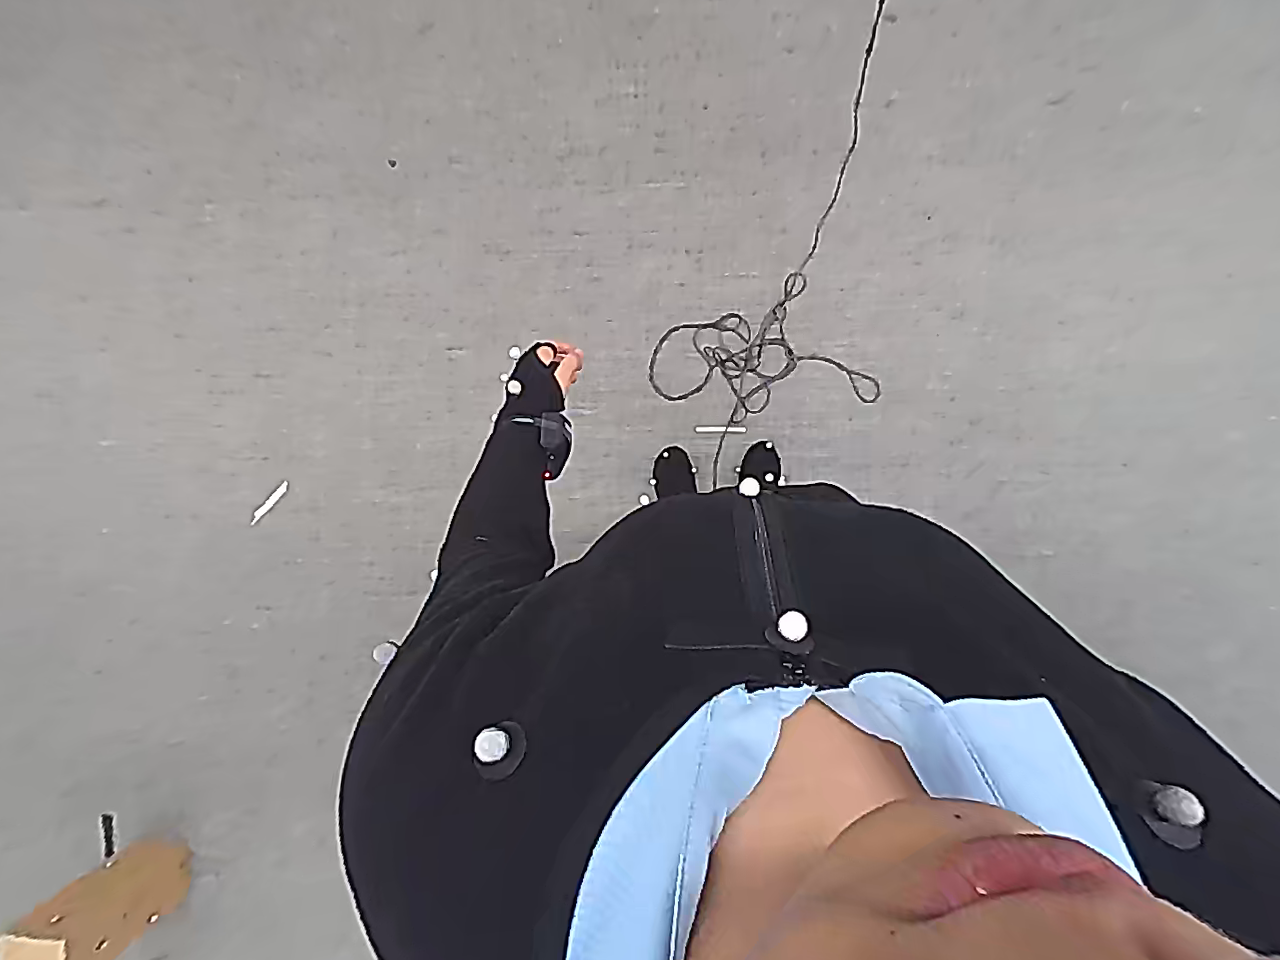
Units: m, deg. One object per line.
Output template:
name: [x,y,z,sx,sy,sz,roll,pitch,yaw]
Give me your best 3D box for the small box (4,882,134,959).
small box: [-1.464,1.184,1.395,0.179,0.176,0.168,4,92,4]
